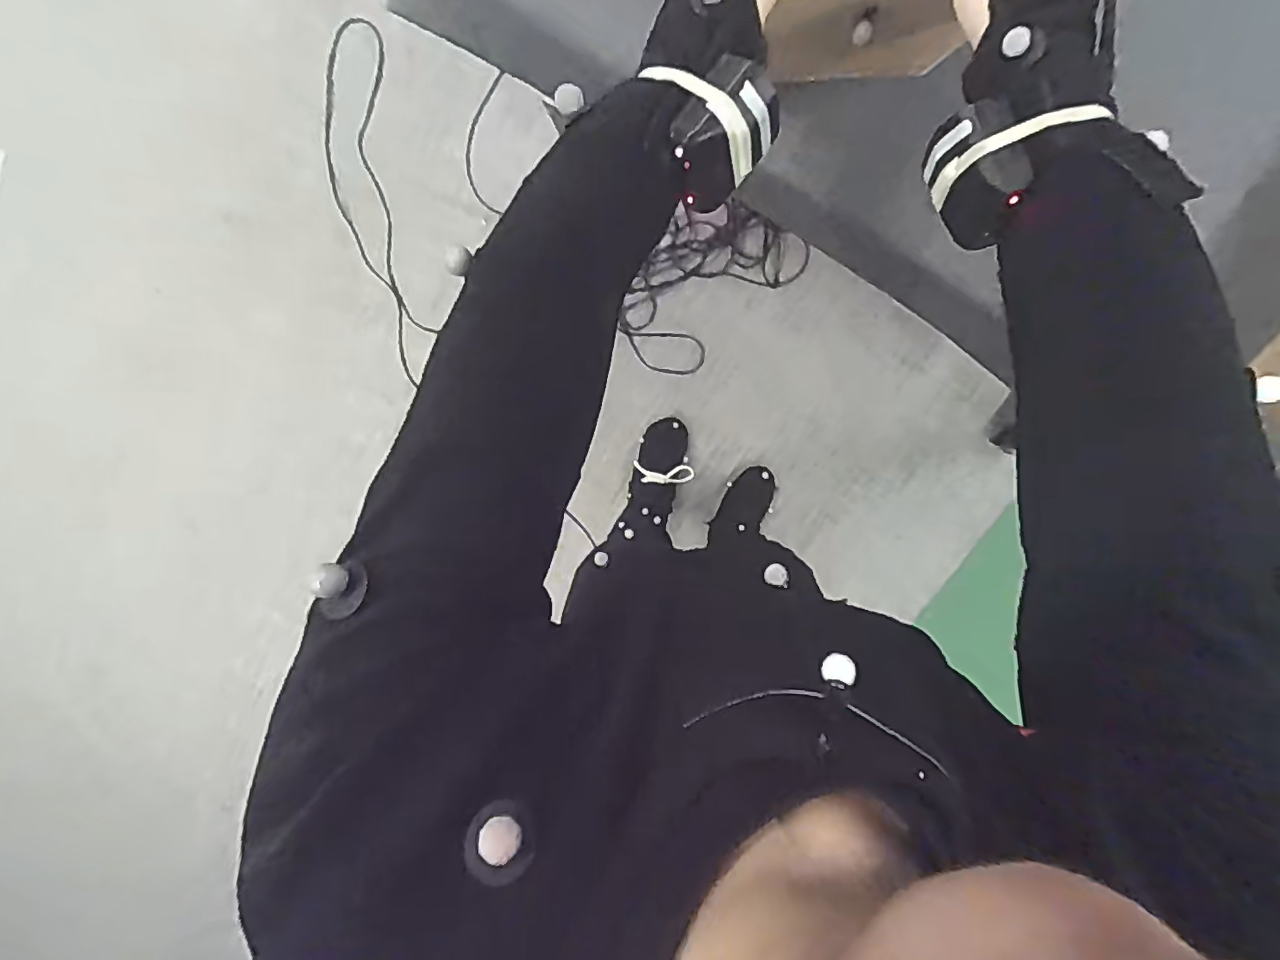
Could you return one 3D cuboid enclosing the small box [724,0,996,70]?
[{"bbox_3d":[0.158,-0.418,0.384,0.179,0.176,0.168,0,111,4],"label":"small box"}]
